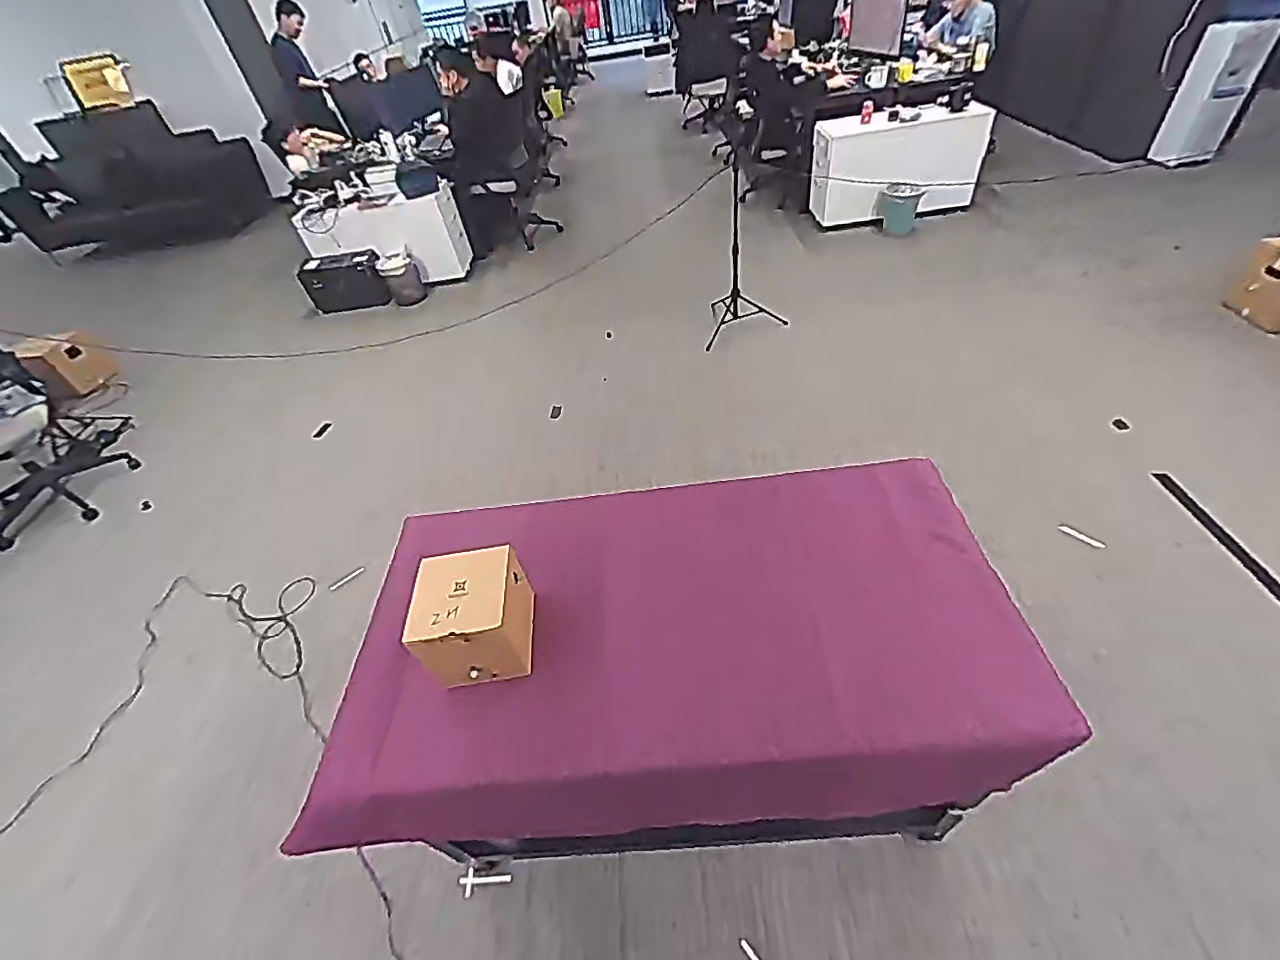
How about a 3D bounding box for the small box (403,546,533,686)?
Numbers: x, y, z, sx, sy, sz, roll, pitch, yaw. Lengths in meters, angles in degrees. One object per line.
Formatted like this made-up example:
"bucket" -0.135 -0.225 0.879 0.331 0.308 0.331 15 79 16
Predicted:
"small box" -0.298 0.246 0.980 0.168 0.176 0.179 -9 44 2
